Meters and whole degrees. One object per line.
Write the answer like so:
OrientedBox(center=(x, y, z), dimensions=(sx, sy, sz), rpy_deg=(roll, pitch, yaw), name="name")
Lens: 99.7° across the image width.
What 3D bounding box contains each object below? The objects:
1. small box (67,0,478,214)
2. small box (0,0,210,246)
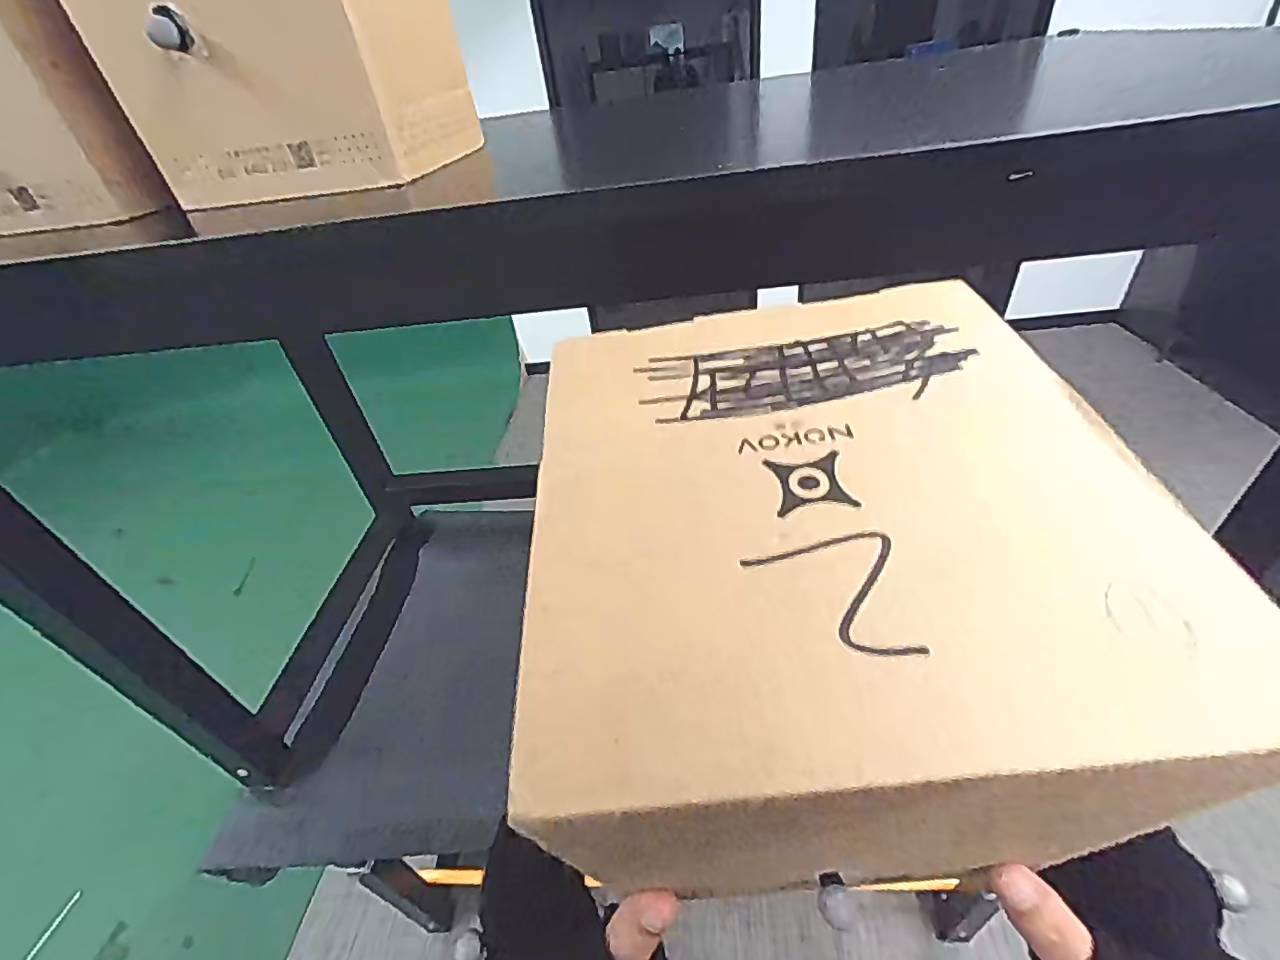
OrientedBox(center=(-0.234, -0.297, 0.381), dimensions=(0.168, 0.176, 0.179), rpy_deg=(-3, 38, 8), name="small box")
OrientedBox(center=(-0.430, -0.284, 0.398), dimensions=(0.168, 0.176, 0.179), rpy_deg=(-3, 39, 7), name="small box")
